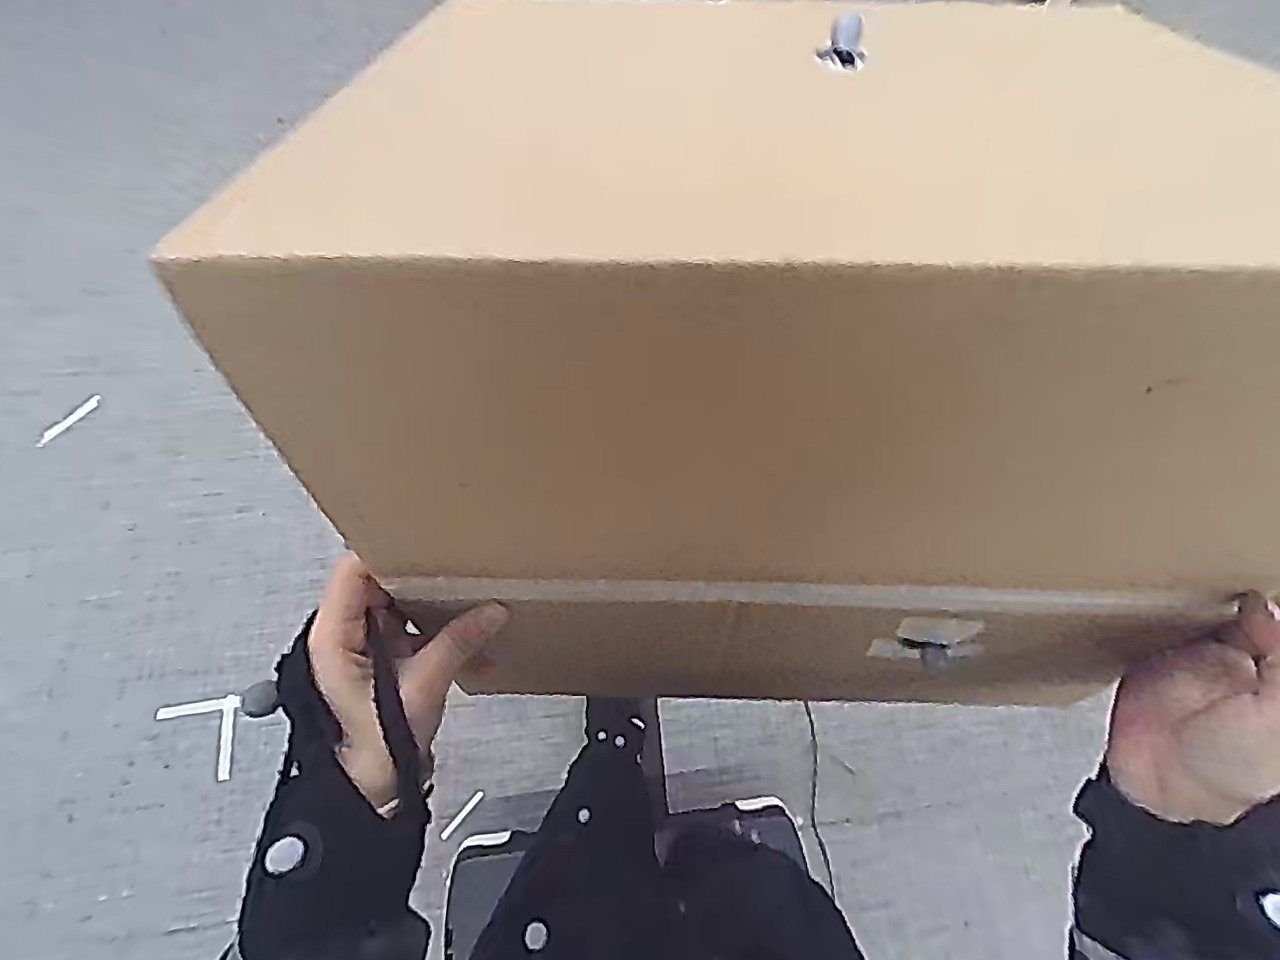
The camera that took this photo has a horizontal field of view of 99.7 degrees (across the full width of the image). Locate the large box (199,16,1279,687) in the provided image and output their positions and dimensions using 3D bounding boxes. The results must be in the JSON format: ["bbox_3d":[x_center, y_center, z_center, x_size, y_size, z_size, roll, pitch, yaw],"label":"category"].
[{"bbox_3d":[0.075,-0.071,0.353,0.408,0.320,0.320,0,51,1],"label":"large box"}]
